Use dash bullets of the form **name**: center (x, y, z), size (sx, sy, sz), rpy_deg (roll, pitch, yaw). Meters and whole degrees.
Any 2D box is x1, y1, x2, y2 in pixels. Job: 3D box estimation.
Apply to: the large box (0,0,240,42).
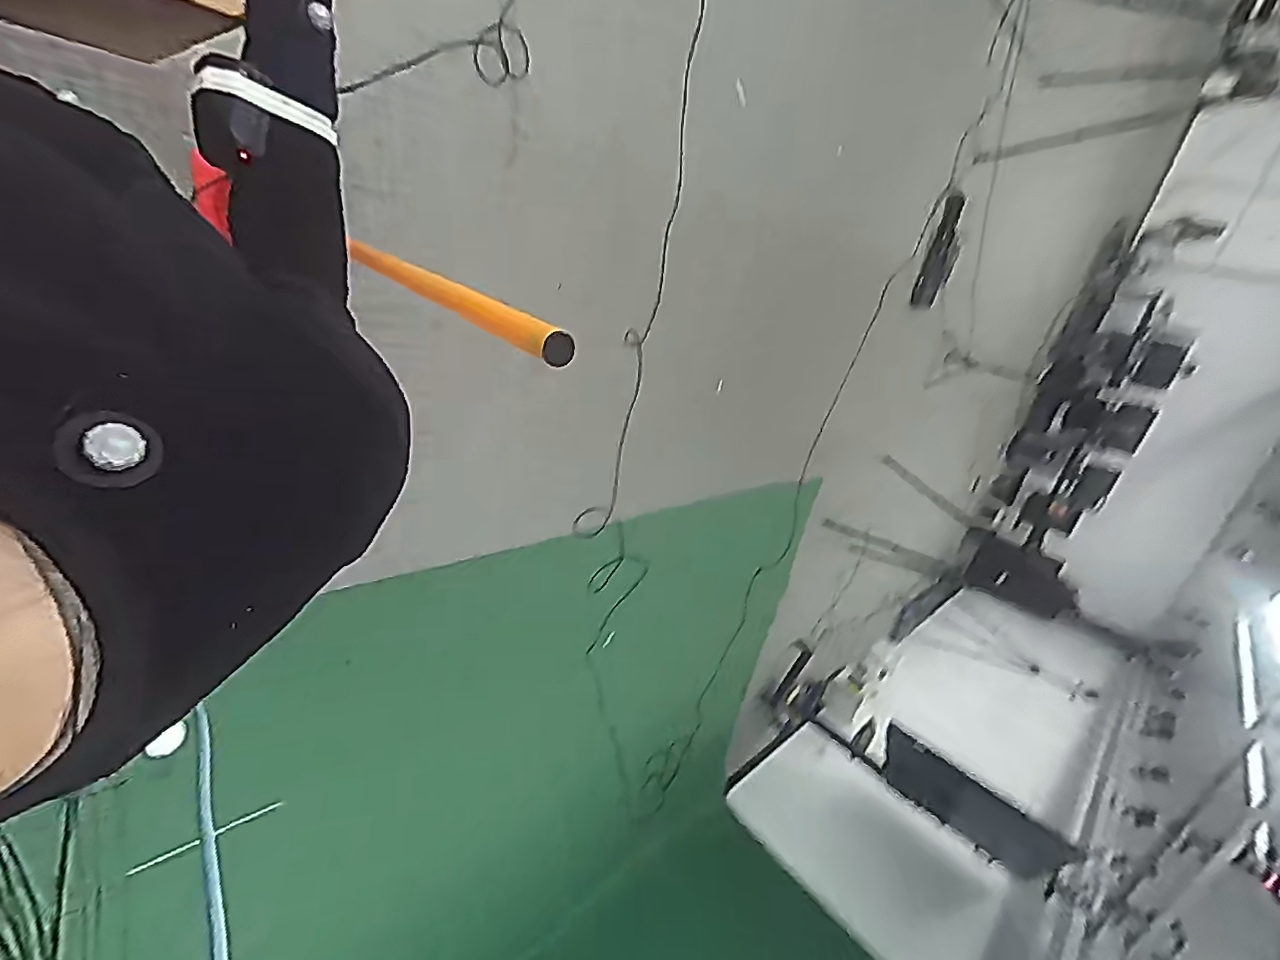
- **large box**: center (-0.506, -0.497, 0.281), size (0.408, 0.320, 0.320), rpy_deg (-15, 122, -47)
